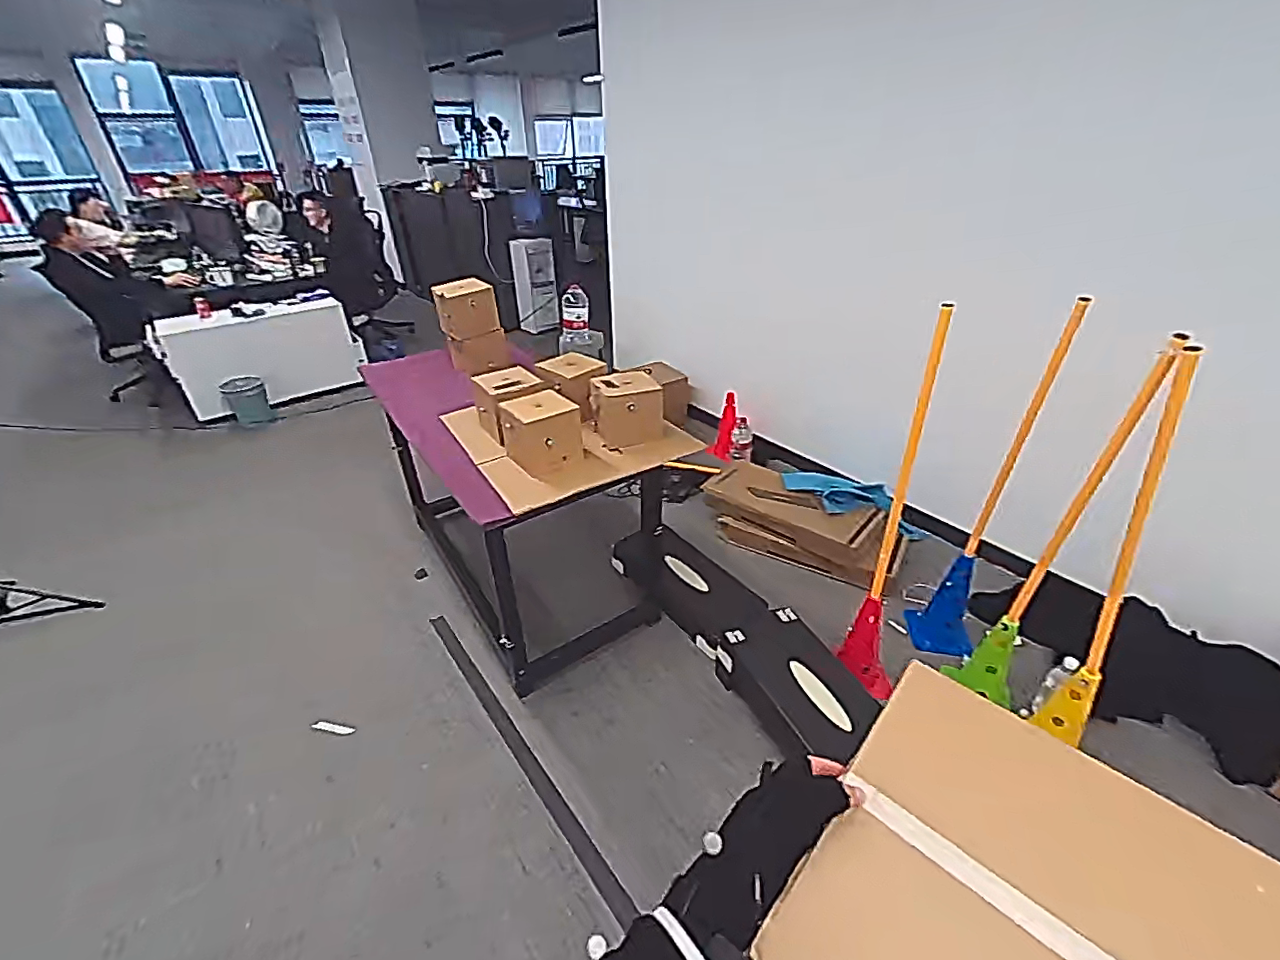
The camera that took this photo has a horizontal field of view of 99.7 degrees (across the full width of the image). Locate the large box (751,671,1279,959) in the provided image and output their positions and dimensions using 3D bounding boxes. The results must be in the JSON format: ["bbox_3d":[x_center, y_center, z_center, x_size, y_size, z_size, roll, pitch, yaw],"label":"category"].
[{"bbox_3d":[0.340,0.463,0.476,0.408,0.320,0.320,28,51,33],"label":"large box"}]
